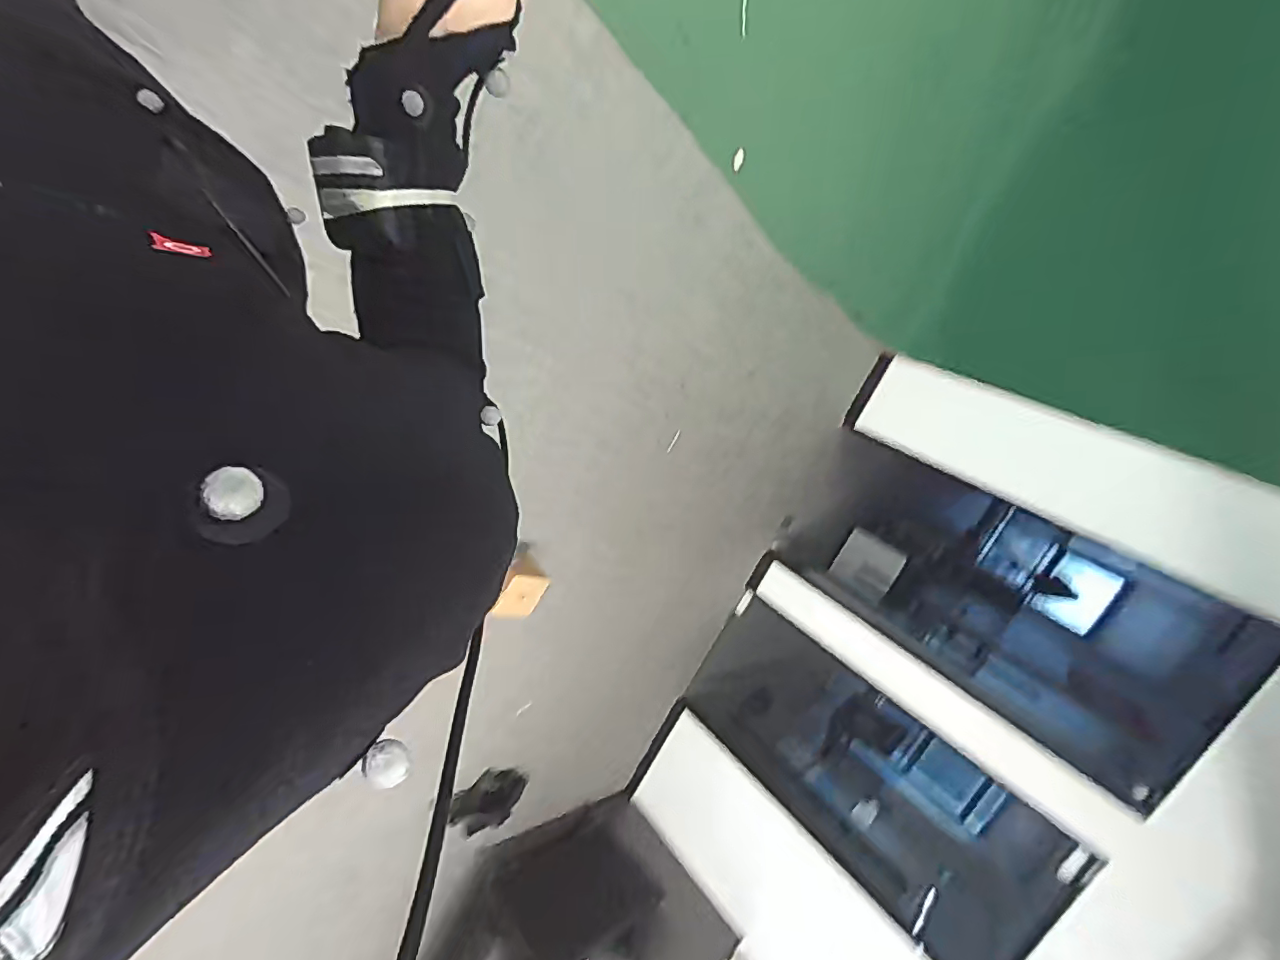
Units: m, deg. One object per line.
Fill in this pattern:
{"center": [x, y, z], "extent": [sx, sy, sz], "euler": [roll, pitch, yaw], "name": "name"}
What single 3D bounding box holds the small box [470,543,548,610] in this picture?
{"center": [-0.467, 0.339, 1.905], "extent": [0.179, 0.176, 0.168], "euler": [20, 104, -54], "name": "small box"}
